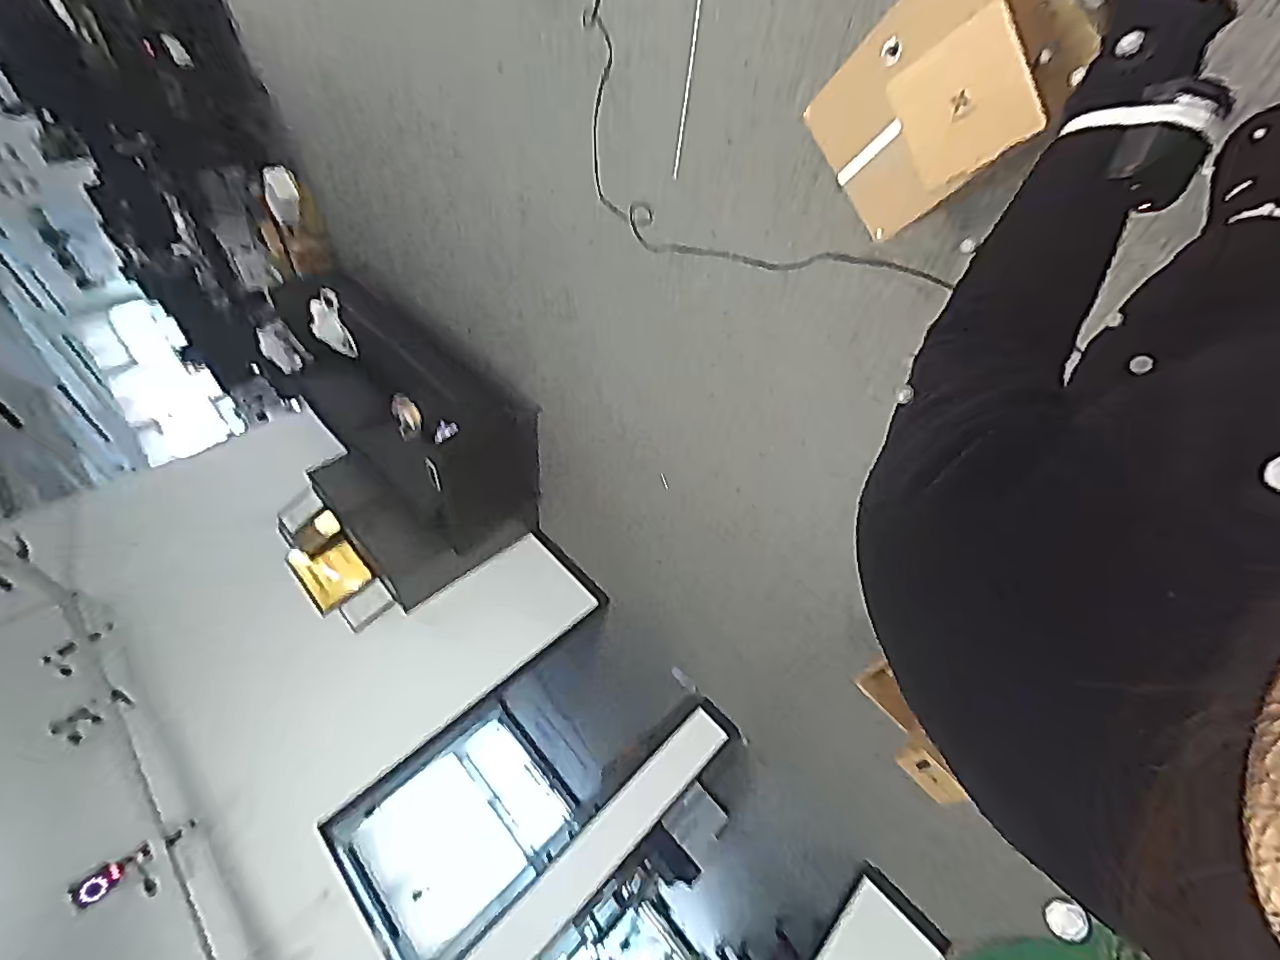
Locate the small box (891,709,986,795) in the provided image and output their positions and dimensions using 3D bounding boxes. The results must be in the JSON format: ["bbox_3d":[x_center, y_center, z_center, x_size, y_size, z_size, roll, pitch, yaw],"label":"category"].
[{"bbox_3d":[0.949,0.858,1.719,0.179,0.176,0.168,43,146,17],"label":"small box"}]

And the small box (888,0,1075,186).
[{"bbox_3d":[0.514,-0.586,0.812,0.168,0.176,0.179,-11,114,56],"label":"small box"}]
